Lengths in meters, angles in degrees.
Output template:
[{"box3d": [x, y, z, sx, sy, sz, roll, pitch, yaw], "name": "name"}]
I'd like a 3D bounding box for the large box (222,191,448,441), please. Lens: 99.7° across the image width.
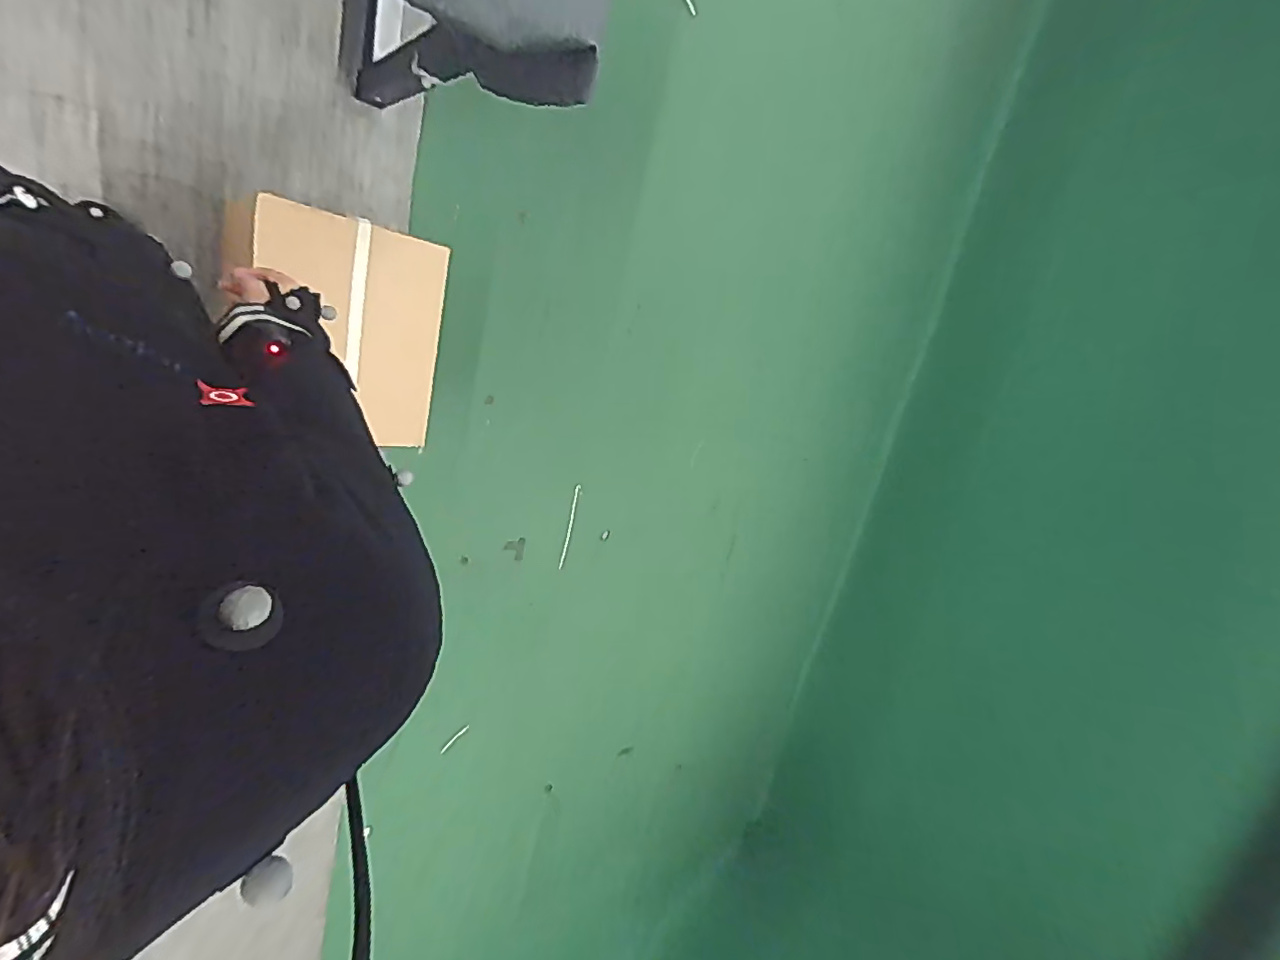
[{"box3d": [-0.616, -0.314, 1.076, 0.320, 0.320, 0.408, -1, 111, -44], "name": "large box"}]
